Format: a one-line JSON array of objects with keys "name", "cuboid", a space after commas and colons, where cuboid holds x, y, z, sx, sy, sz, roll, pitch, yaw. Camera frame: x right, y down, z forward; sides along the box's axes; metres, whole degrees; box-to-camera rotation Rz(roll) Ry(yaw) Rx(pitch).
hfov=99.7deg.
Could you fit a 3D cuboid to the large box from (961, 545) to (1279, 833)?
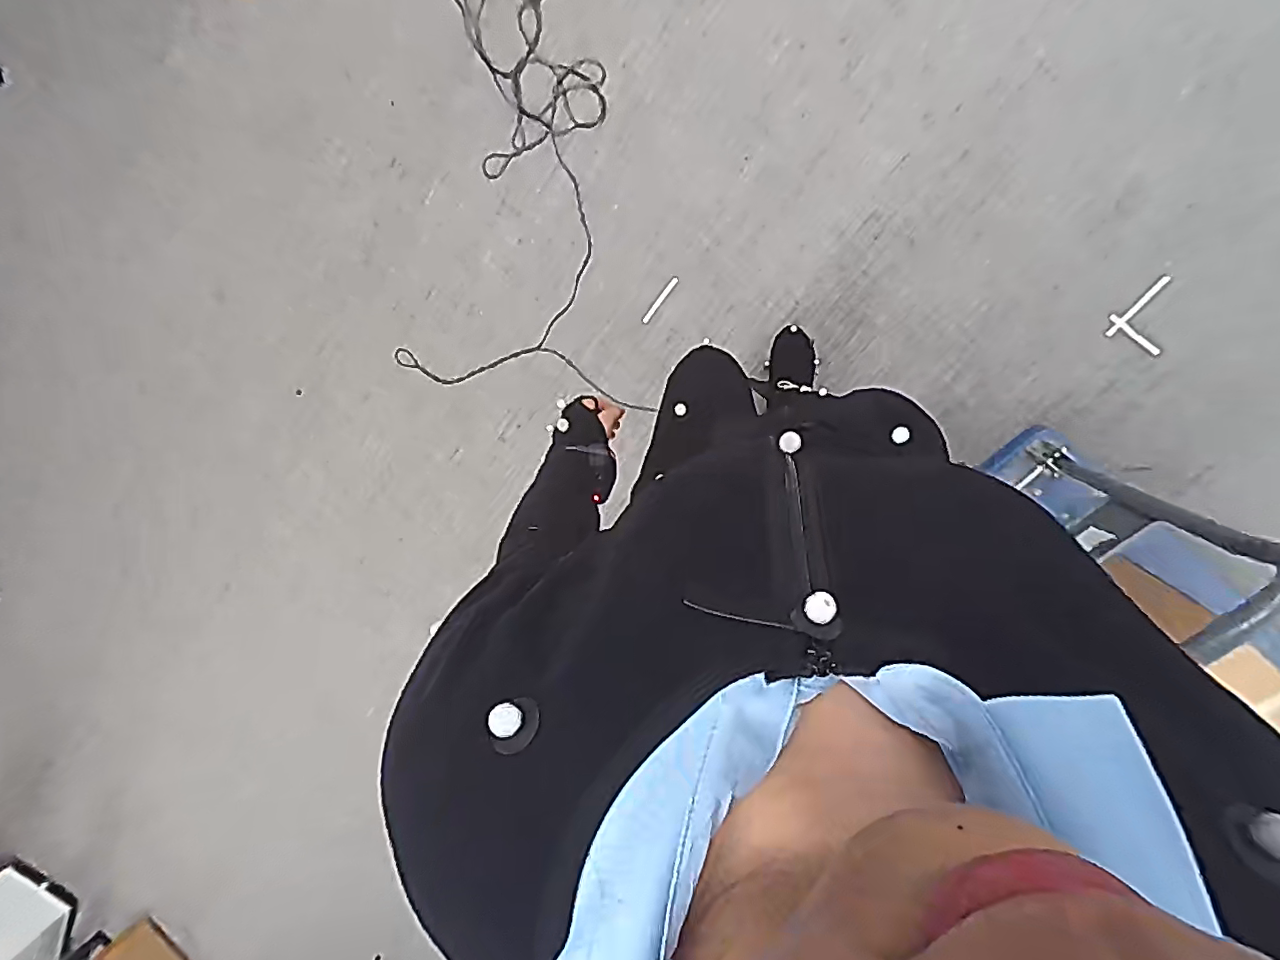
[{"name": "large box", "cuboid": [0.990, 0.414, 1.131, 0.320, 0.320, 0.408, 41, 109, -1]}]
